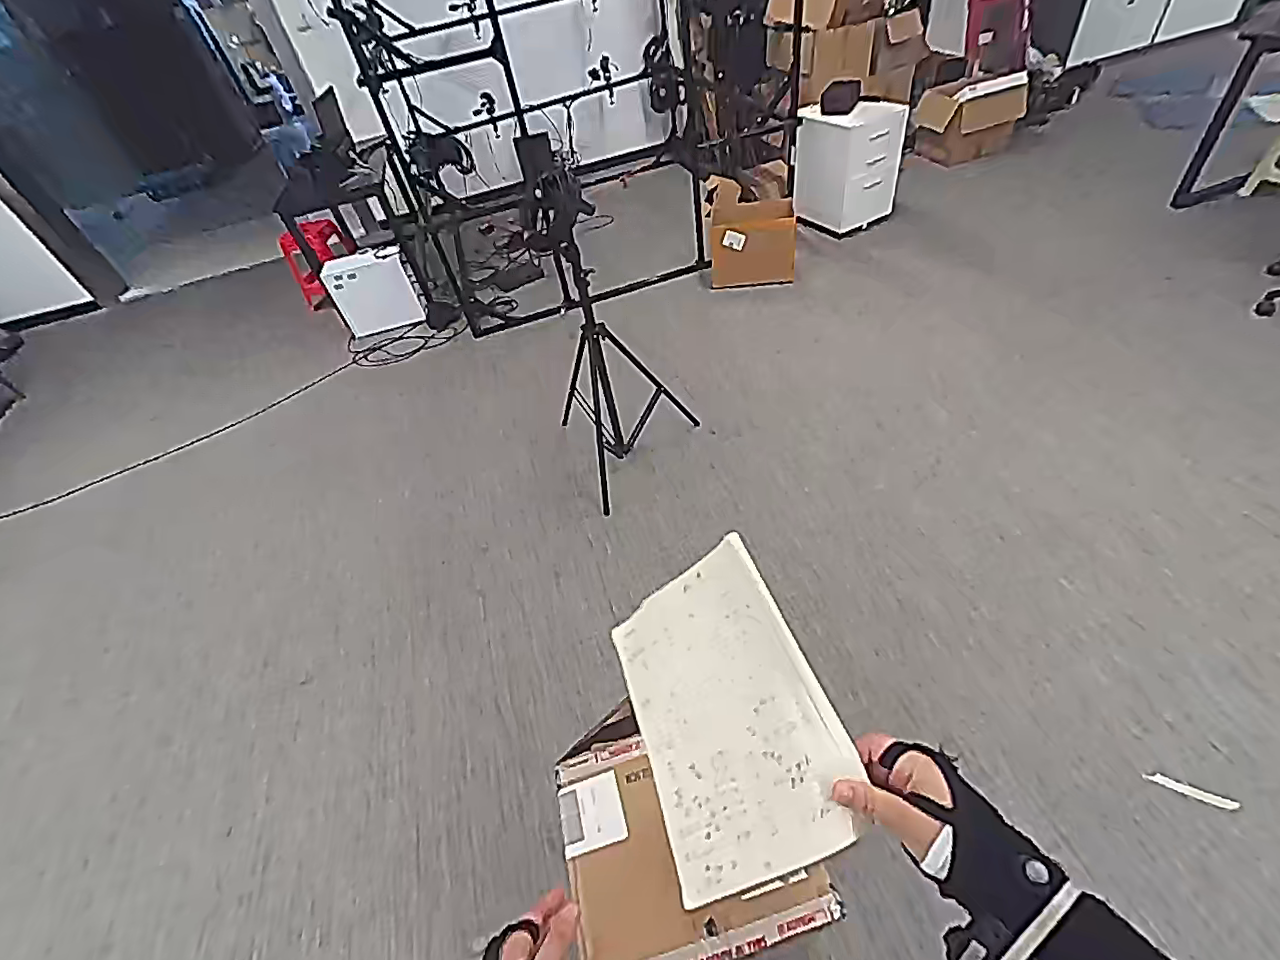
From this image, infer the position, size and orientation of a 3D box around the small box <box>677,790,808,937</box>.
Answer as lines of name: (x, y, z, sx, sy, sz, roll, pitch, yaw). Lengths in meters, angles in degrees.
small box: (0.166, 0.531, 0.790, 0.179, 0.176, 0.168, -19, 47, -8)

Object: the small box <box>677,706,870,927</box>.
small box: (0.150, 0.418, 0.672, 0.168, 0.176, 0.179, -16, 47, -6)
